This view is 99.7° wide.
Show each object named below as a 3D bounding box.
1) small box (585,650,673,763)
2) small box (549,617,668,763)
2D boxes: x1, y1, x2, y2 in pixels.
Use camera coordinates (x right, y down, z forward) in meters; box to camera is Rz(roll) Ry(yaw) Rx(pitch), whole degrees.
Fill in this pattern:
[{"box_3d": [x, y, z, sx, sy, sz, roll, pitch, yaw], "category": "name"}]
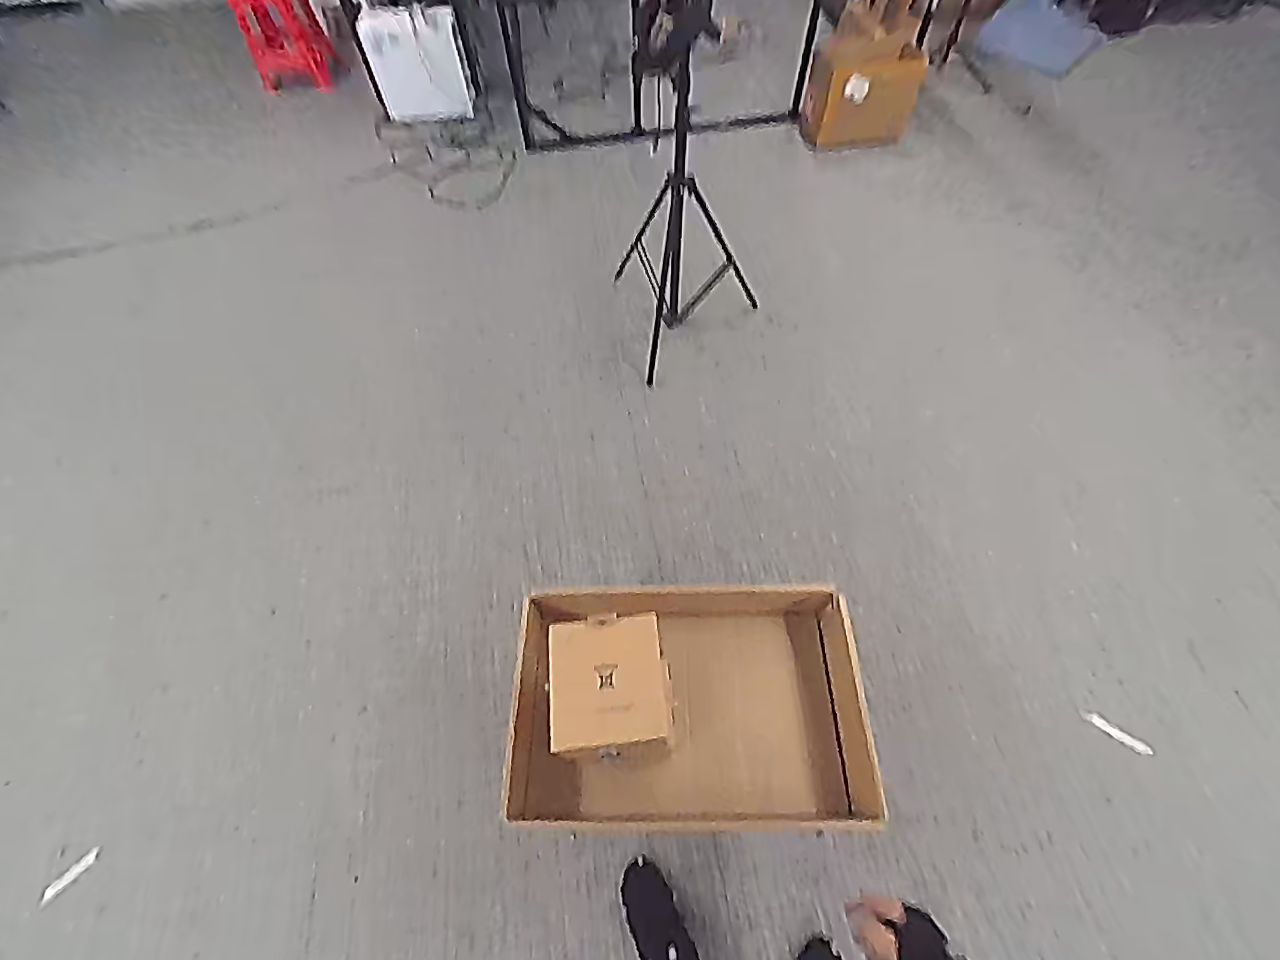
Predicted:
[{"box_3d": [-0.034, 0.417, 0.988, 0.179, 0.176, 0.168, -3, 59, -1], "category": "small box"}, {"box_3d": [-0.048, 0.332, 0.848, 0.168, 0.176, 0.179, -6, 58, -1], "category": "small box"}]
